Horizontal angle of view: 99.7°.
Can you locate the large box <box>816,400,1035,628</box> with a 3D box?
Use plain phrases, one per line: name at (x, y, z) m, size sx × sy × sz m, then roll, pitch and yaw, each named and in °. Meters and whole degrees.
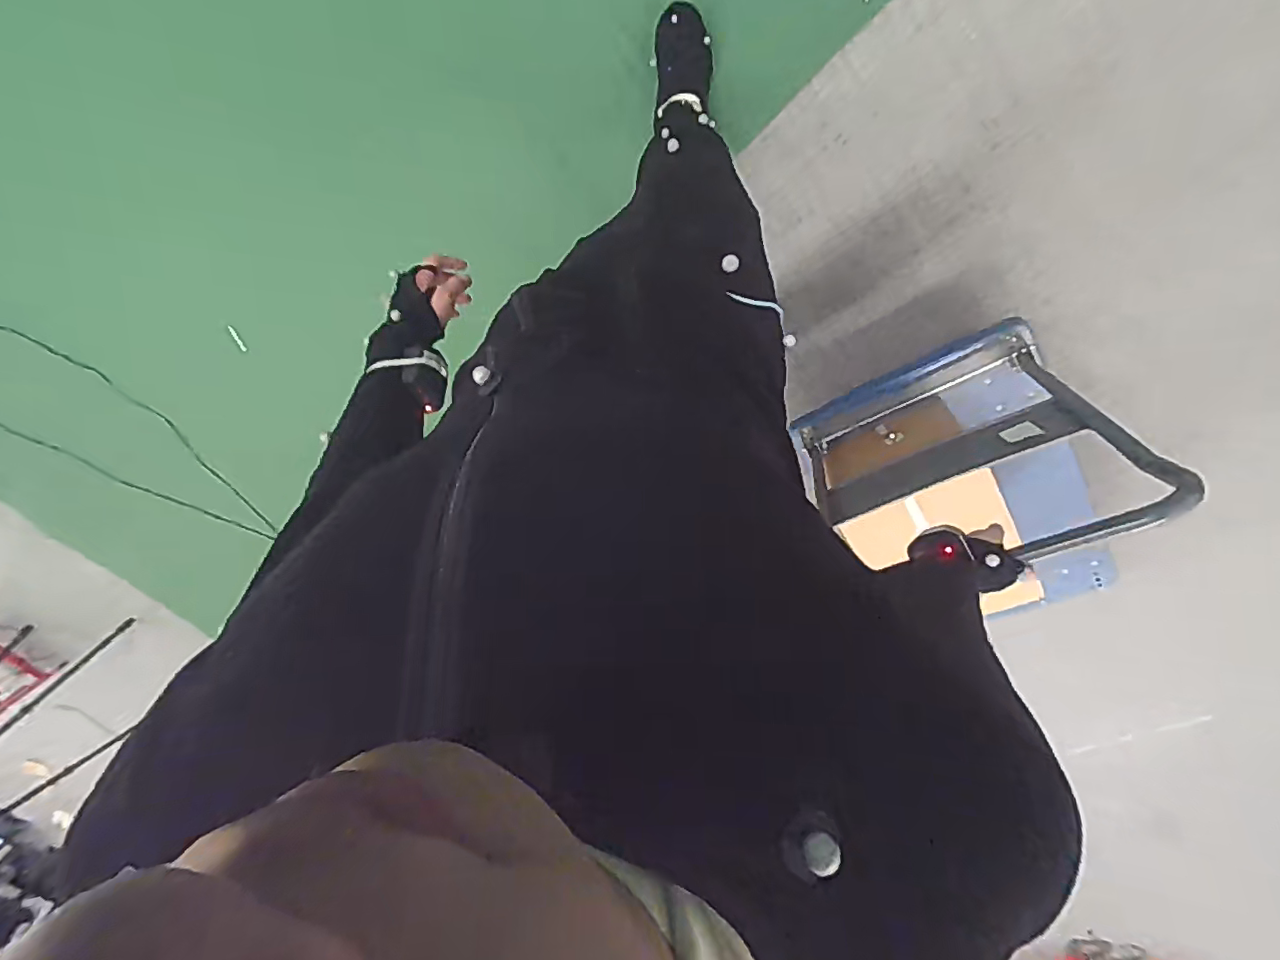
large box at (0.681, 0.083, 1.336) m, size 0.320 × 0.320 × 0.408 m, roll -26°, pitch 115°, yaw 25°
